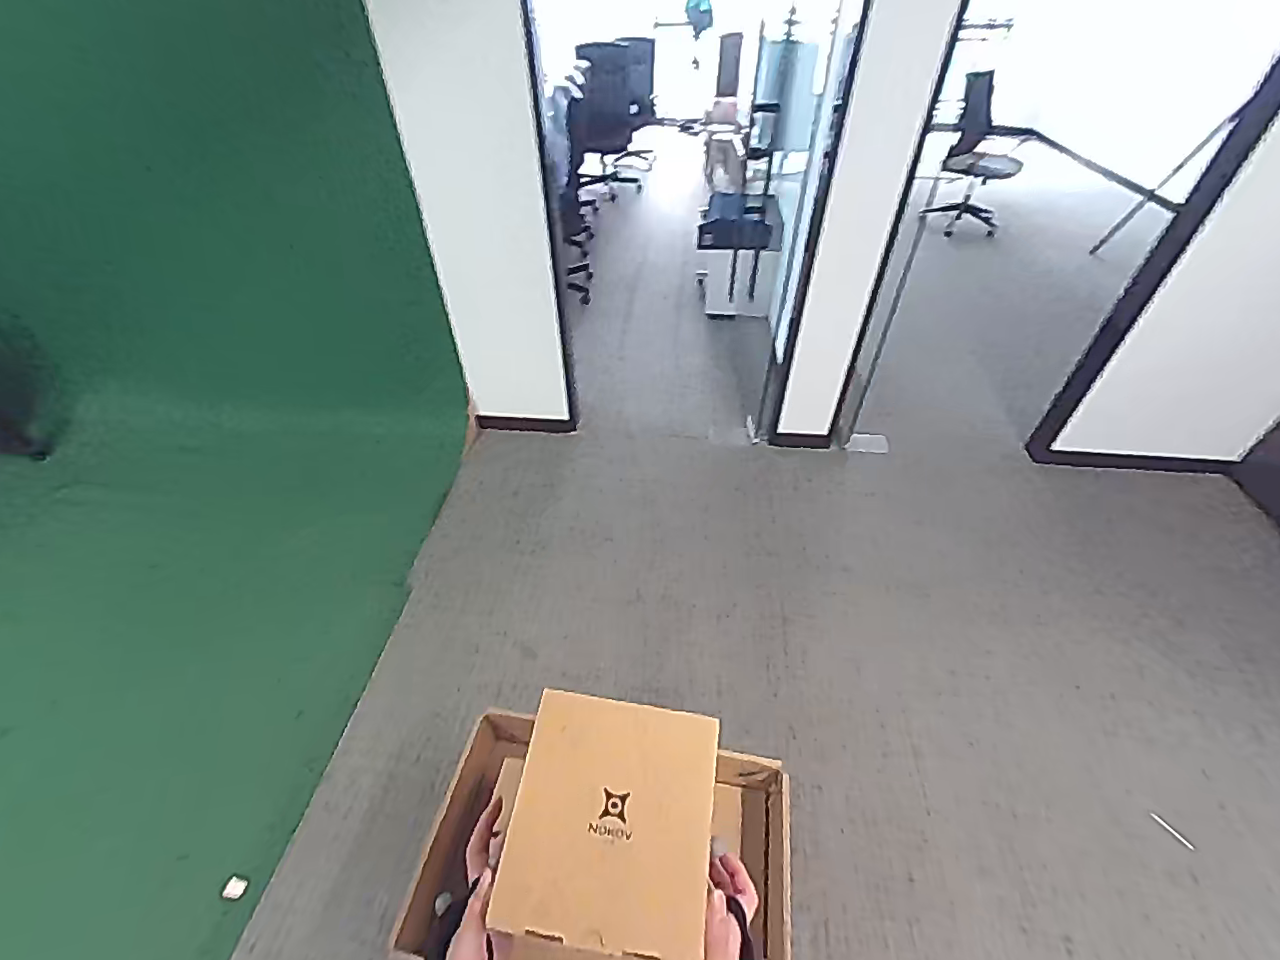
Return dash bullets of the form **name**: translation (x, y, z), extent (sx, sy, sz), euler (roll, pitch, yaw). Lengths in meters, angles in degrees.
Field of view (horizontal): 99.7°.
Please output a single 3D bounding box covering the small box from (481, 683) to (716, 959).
- **small box**: translation (-0.029, 0.311, 0.502), extent (0.168, 0.176, 0.179), euler (8, 56, 3)
